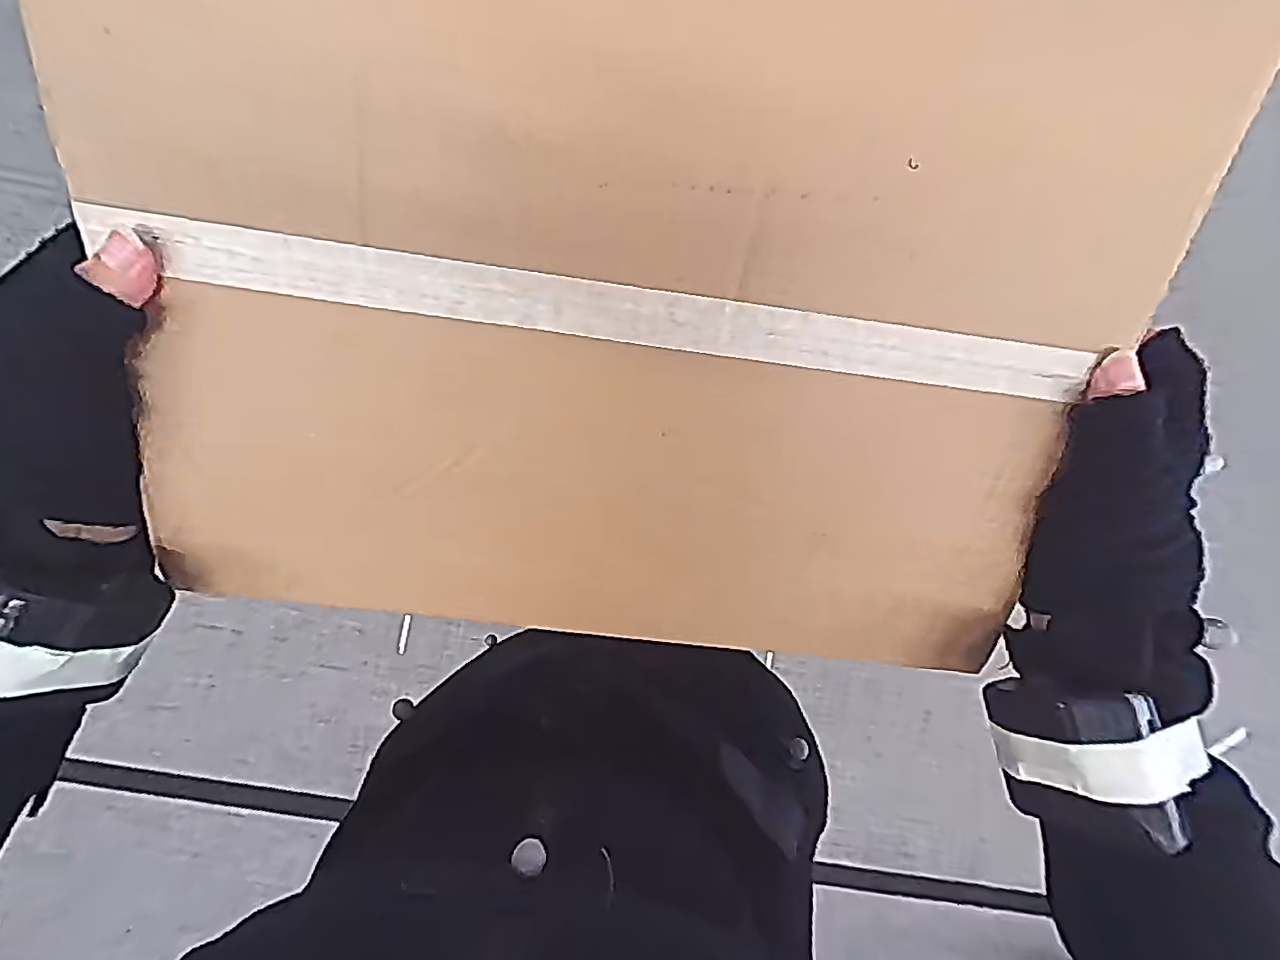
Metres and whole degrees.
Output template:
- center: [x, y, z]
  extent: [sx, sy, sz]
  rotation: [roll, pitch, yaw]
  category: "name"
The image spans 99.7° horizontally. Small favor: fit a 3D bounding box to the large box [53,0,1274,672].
- center: [-0.005, -0.113, 0.360]
  extent: [0.408, 0.320, 0.320]
  rotation: [7, 113, -4]
  category: "large box"
